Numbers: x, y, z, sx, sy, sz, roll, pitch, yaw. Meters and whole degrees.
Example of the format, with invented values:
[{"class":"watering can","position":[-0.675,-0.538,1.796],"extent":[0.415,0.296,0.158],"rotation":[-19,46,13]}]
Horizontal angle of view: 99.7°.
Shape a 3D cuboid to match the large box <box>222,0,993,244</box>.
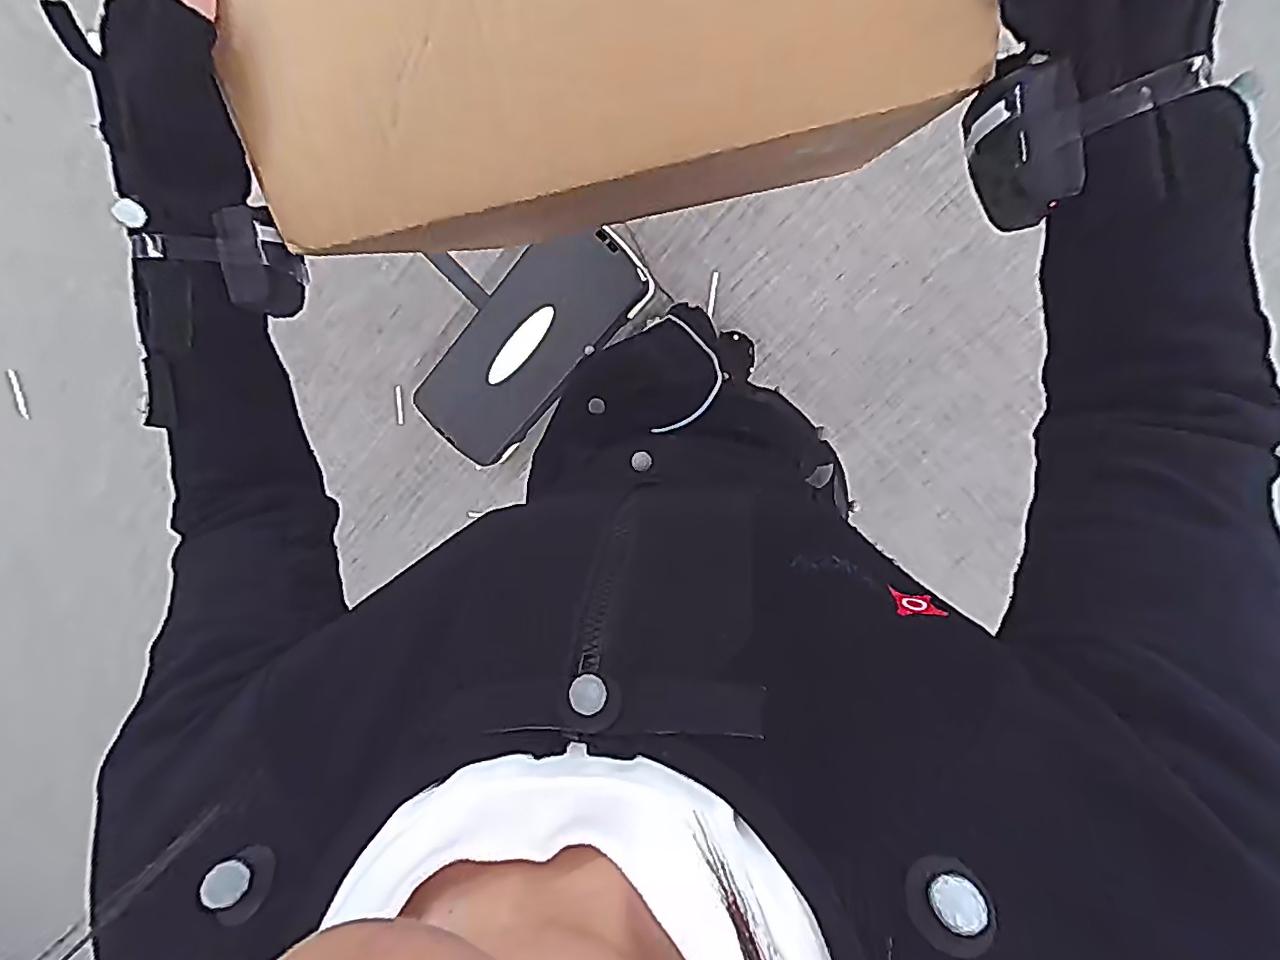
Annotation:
[{"class":"large box","position":[-0.027,-0.378,0.391],"extent":[0.408,0.320,0.320],"rotation":[-7,113,13]}]
